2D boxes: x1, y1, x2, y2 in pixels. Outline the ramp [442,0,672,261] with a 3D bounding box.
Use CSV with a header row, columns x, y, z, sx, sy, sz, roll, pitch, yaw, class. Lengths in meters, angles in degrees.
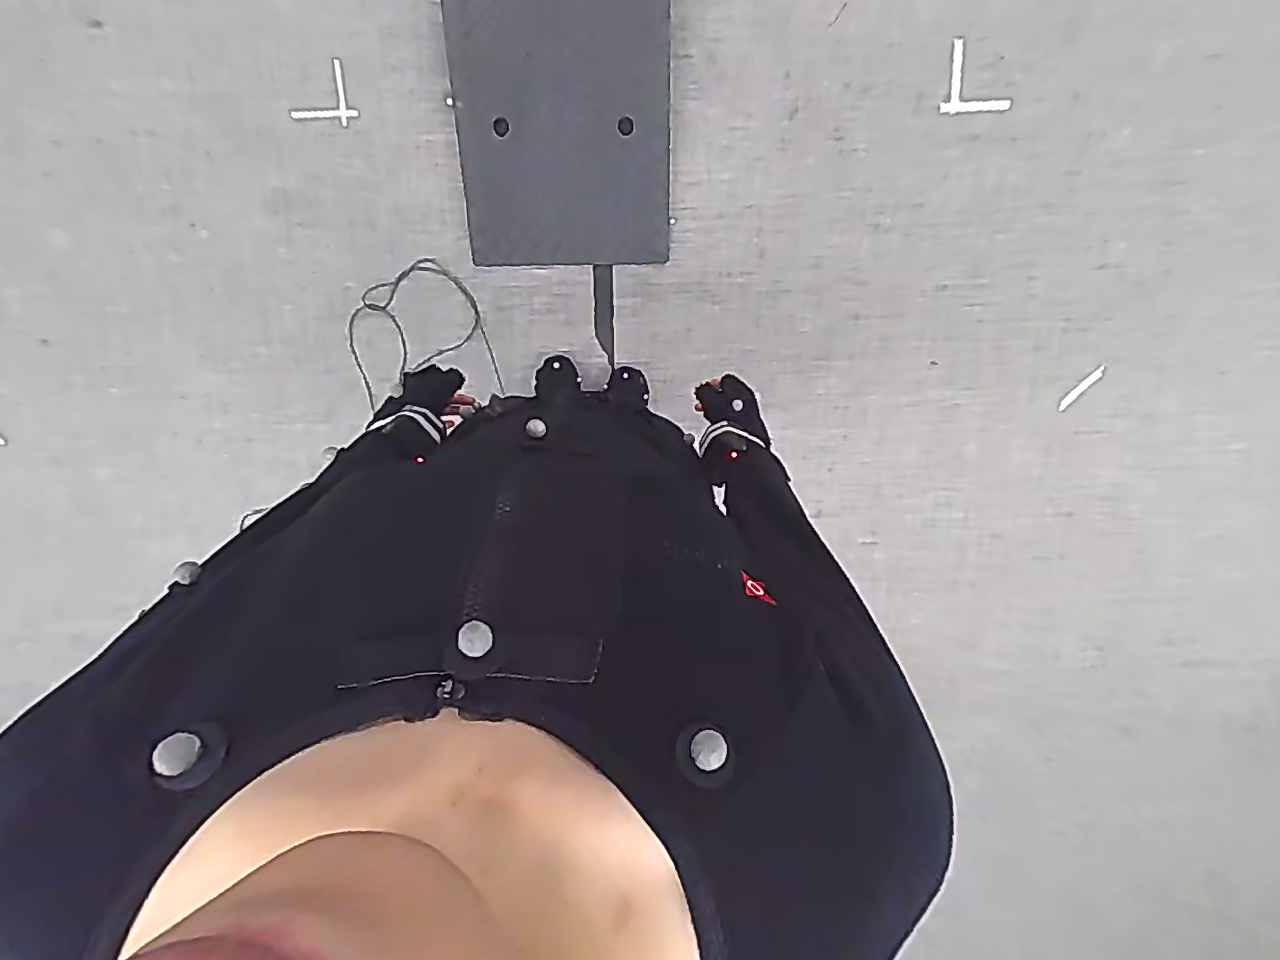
x,y,z,sx,sy,sz,roll,pitch,yaw,class
-0.174,-1.012,1.158,0.509,0.206,0.991,-4,104,-3,ramp
